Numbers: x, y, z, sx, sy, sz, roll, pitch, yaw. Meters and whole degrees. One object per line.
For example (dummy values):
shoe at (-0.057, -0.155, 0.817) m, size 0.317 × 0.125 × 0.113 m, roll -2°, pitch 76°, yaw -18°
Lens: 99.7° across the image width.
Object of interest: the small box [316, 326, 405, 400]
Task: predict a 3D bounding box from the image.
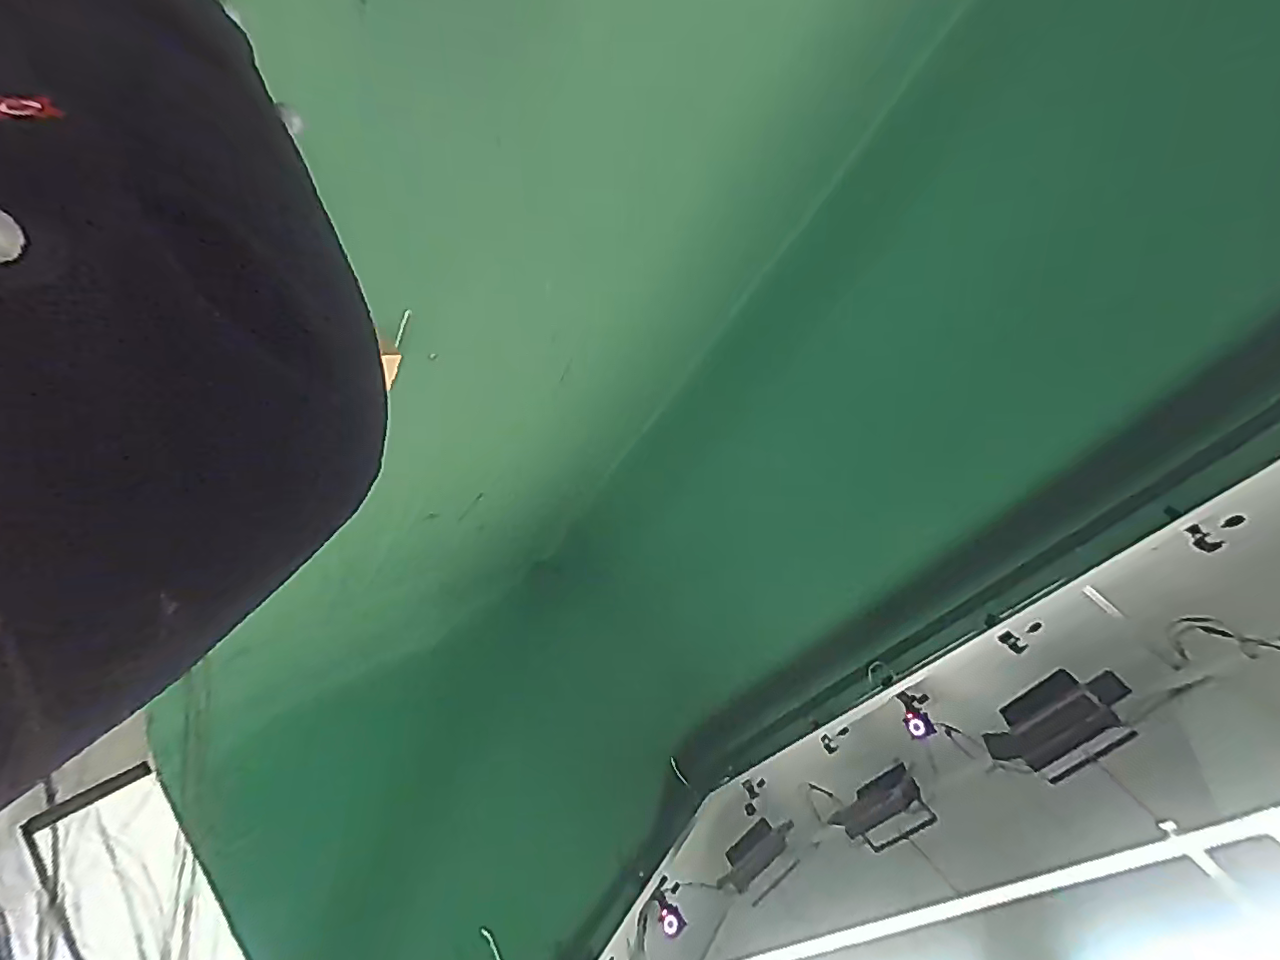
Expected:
small box at (-0.900, -0.378, 1.739) m, size 0.179 × 0.176 × 0.168 m, roll -20°, pitch 152°, yaw -56°
